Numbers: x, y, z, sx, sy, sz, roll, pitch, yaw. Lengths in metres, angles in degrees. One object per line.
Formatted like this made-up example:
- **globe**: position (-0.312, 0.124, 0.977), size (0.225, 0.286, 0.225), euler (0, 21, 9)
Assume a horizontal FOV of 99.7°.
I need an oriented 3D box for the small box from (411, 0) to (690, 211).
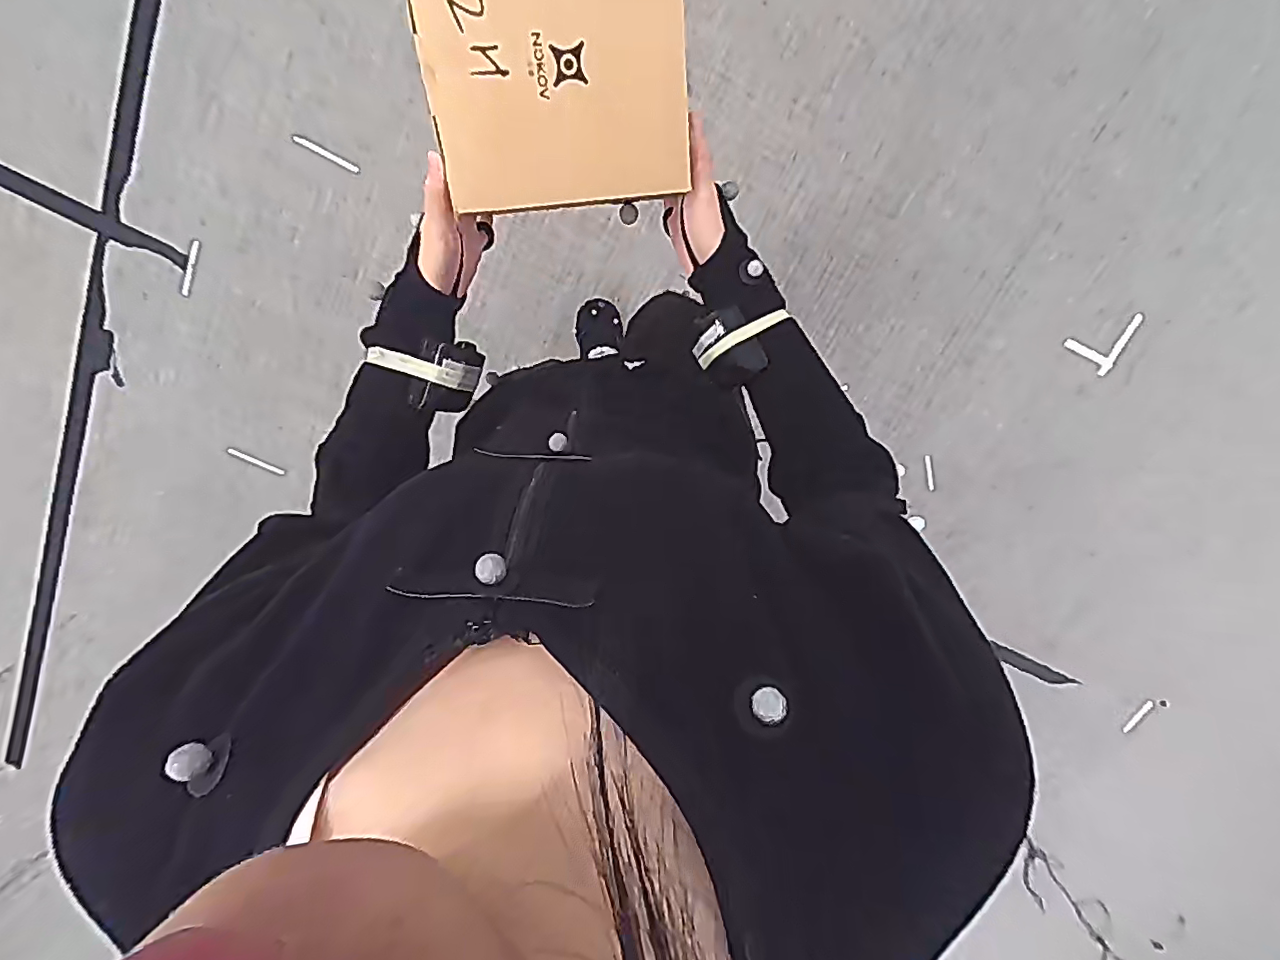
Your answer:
- **small box**: position (-0.062, -0.311, 0.428), size (0.179, 0.176, 0.168), euler (-6, 116, -2)
